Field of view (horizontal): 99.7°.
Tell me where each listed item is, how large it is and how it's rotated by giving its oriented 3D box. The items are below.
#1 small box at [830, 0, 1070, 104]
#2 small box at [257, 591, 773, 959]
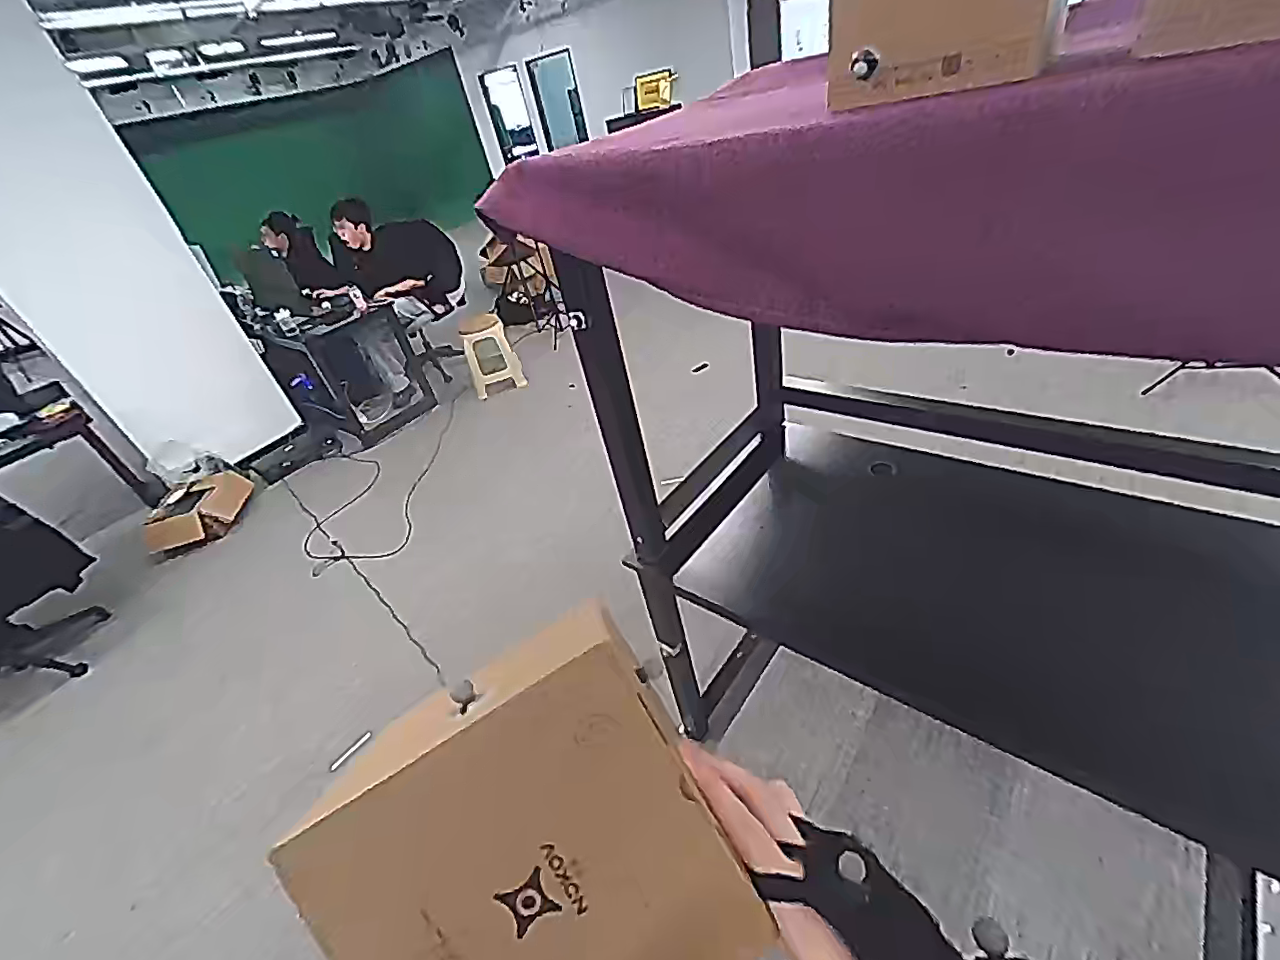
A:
[{"bbox_3d":[0.273,-0.442,0.465,0.168,0.176,0.179,15,44,34],"label":"small box"},{"bbox_3d":[-0.060,0.182,0.318,0.179,0.168,0.176,-30,-1,-8],"label":"small box"}]
